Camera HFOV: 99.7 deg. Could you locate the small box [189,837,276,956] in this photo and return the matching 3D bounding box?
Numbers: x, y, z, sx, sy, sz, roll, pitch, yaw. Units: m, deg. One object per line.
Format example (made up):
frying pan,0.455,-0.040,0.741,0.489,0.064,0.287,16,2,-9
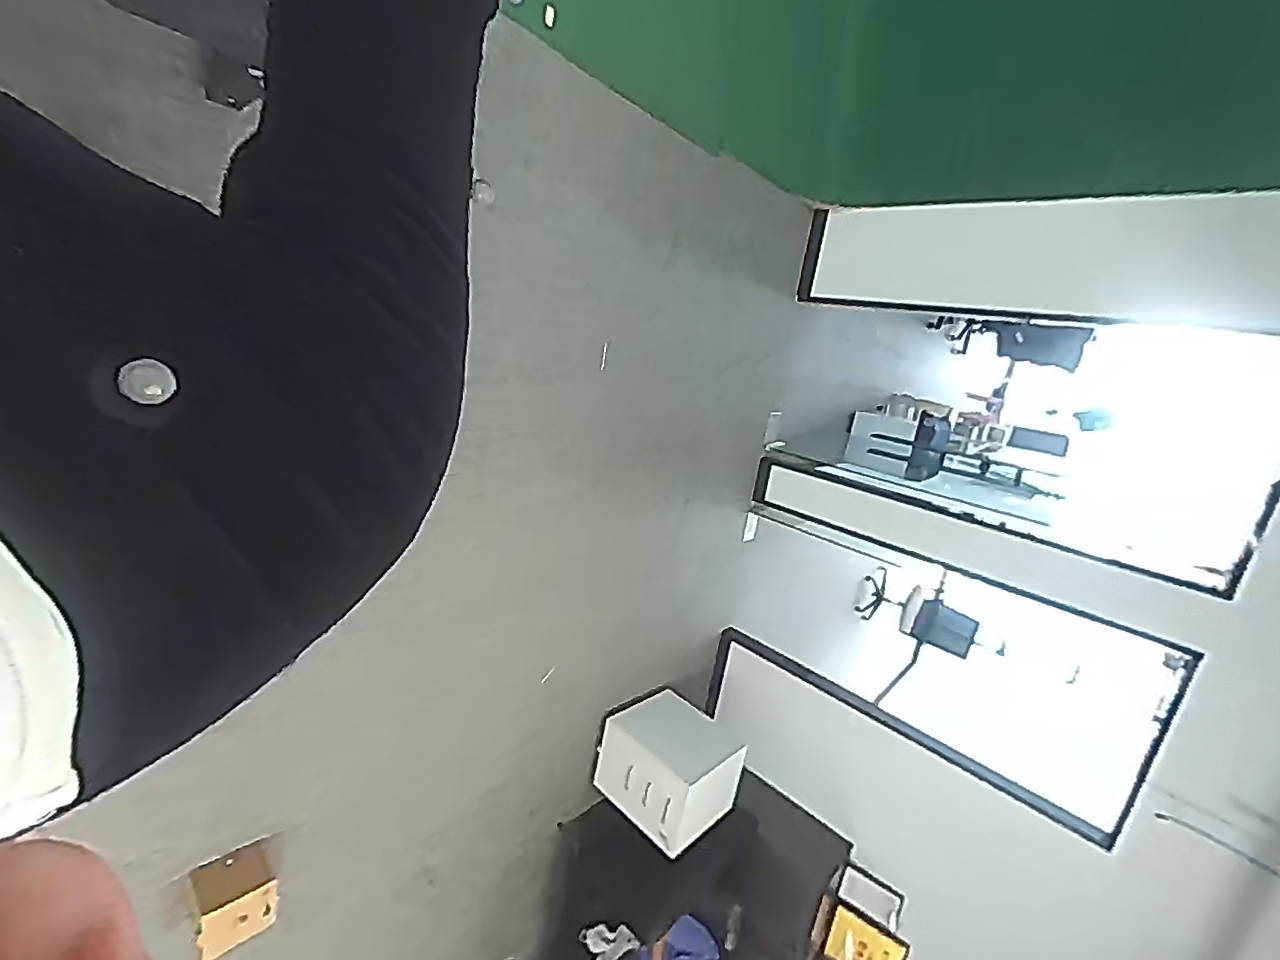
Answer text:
small box,-1.184,1.194,1.564,0.179,0.176,0.168,-5,111,-49
